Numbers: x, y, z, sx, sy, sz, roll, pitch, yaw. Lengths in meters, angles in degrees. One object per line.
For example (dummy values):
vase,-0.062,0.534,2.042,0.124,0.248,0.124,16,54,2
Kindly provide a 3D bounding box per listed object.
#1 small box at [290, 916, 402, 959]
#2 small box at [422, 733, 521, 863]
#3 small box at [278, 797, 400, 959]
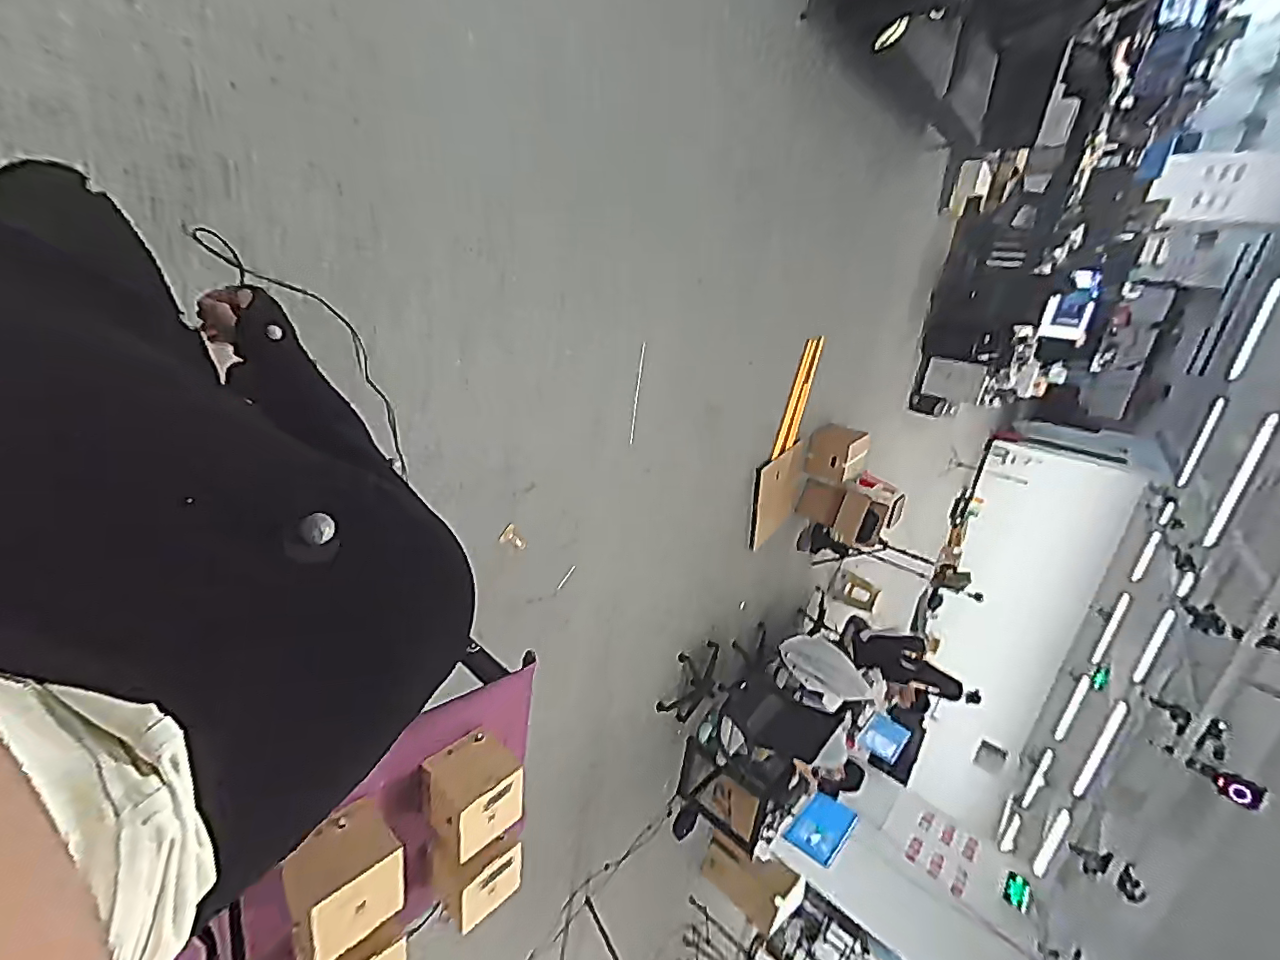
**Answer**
small box,-0.630,1.028,1.161,0.168,0.176,0.179,-13,117,-46
small box,-0.400,0.734,1.275,0.168,0.176,0.179,-16,123,-45
small box,-0.597,0.785,1.074,0.168,0.176,0.179,-13,118,-47
